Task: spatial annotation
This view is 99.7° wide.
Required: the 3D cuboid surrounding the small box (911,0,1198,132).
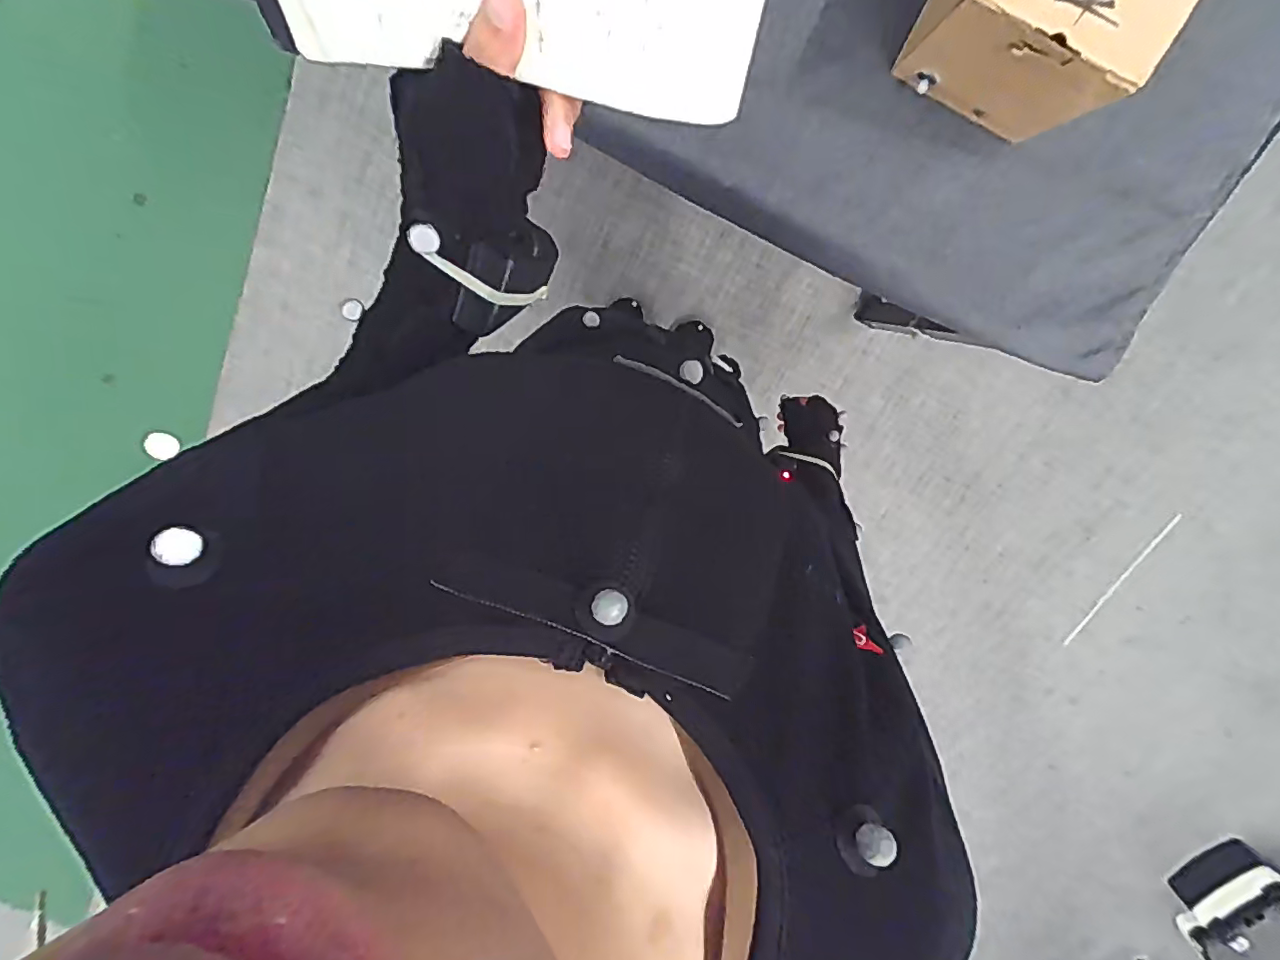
[{"bbox_3d":[0.381,-0.457,0.490,0.168,0.176,0.179,24,107,-6],"label":"small box"}]
